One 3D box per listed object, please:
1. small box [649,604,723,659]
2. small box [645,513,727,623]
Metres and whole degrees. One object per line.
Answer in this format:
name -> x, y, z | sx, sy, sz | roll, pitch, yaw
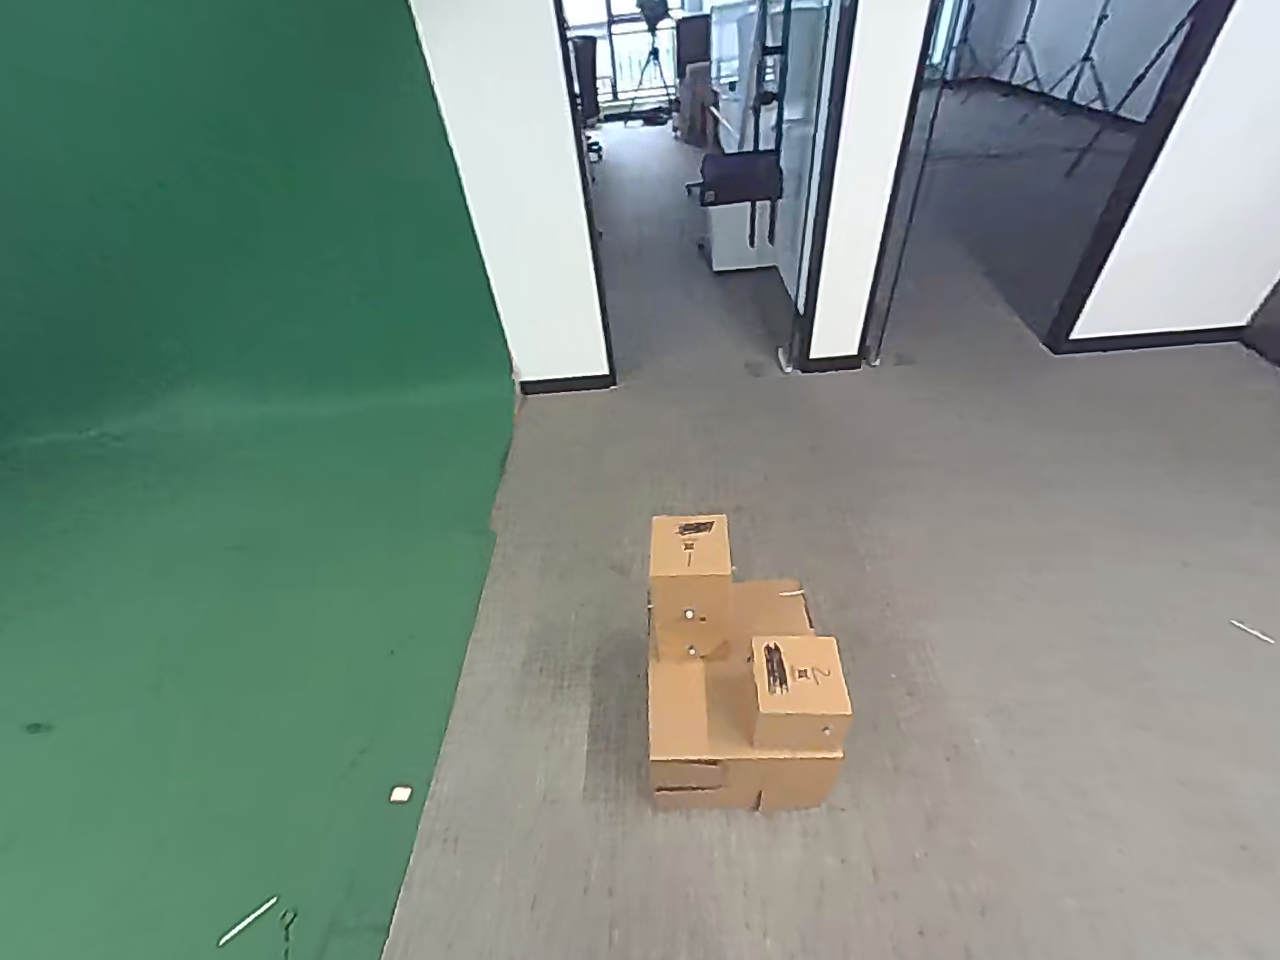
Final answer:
small box -> 0.111, 0.310, 1.308 | 0.168, 0.176, 0.179 | -4, 39, 5
small box -> 0.103, 0.193, 1.190 | 0.168, 0.176, 0.179 | -3, 40, 6
